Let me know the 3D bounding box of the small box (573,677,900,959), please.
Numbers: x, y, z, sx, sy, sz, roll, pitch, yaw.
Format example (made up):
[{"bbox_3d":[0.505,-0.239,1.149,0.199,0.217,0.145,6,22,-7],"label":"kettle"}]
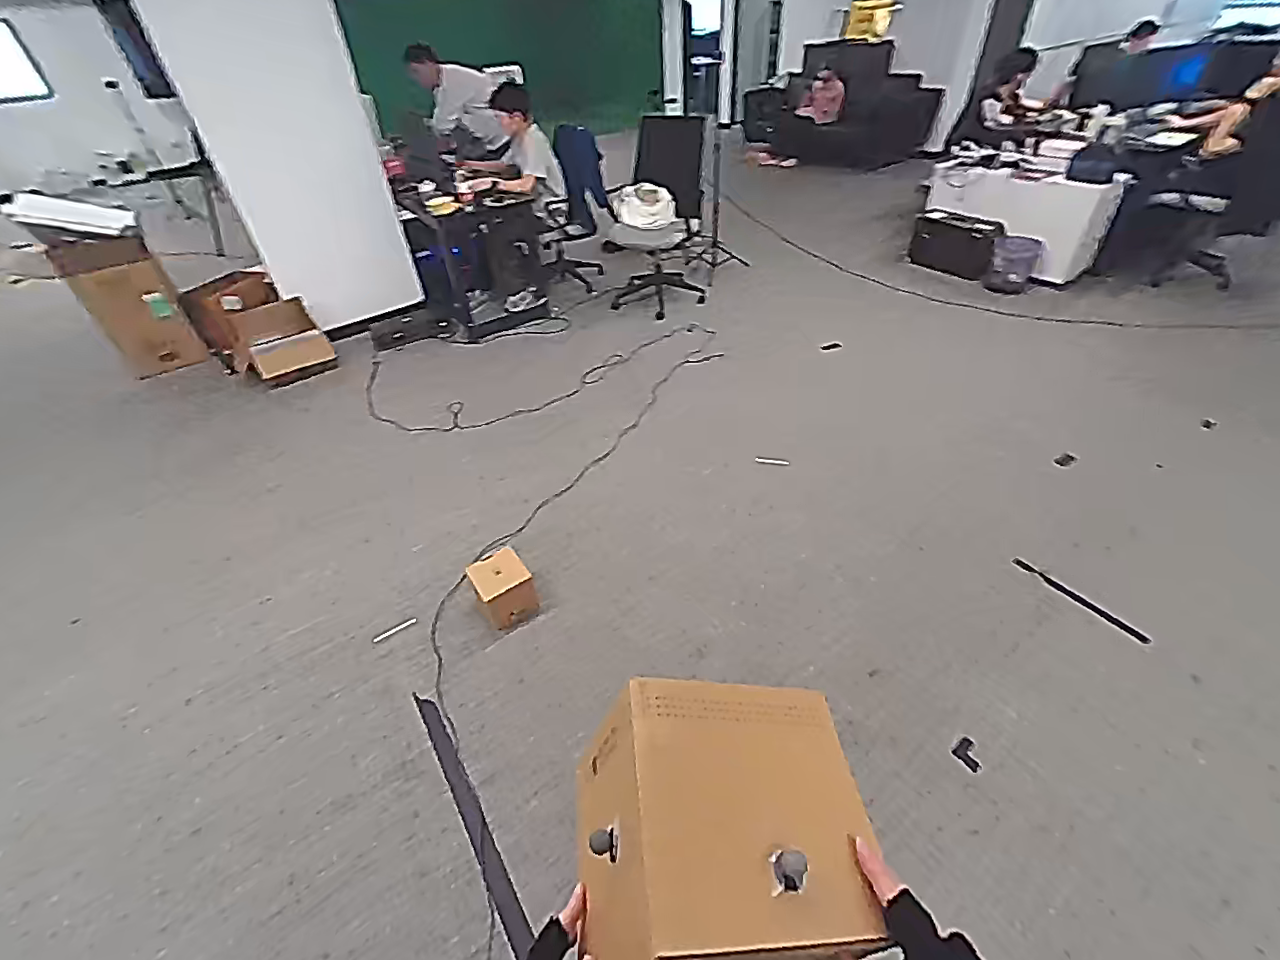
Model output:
[{"bbox_3d":[0.049,0.273,0.423,0.179,0.168,0.176,10,38,-18],"label":"small box"}]

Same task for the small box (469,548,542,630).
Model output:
[{"bbox_3d":[-0.451,0.368,1.817,0.168,0.176,0.179,-27,46,-23],"label":"small box"}]
